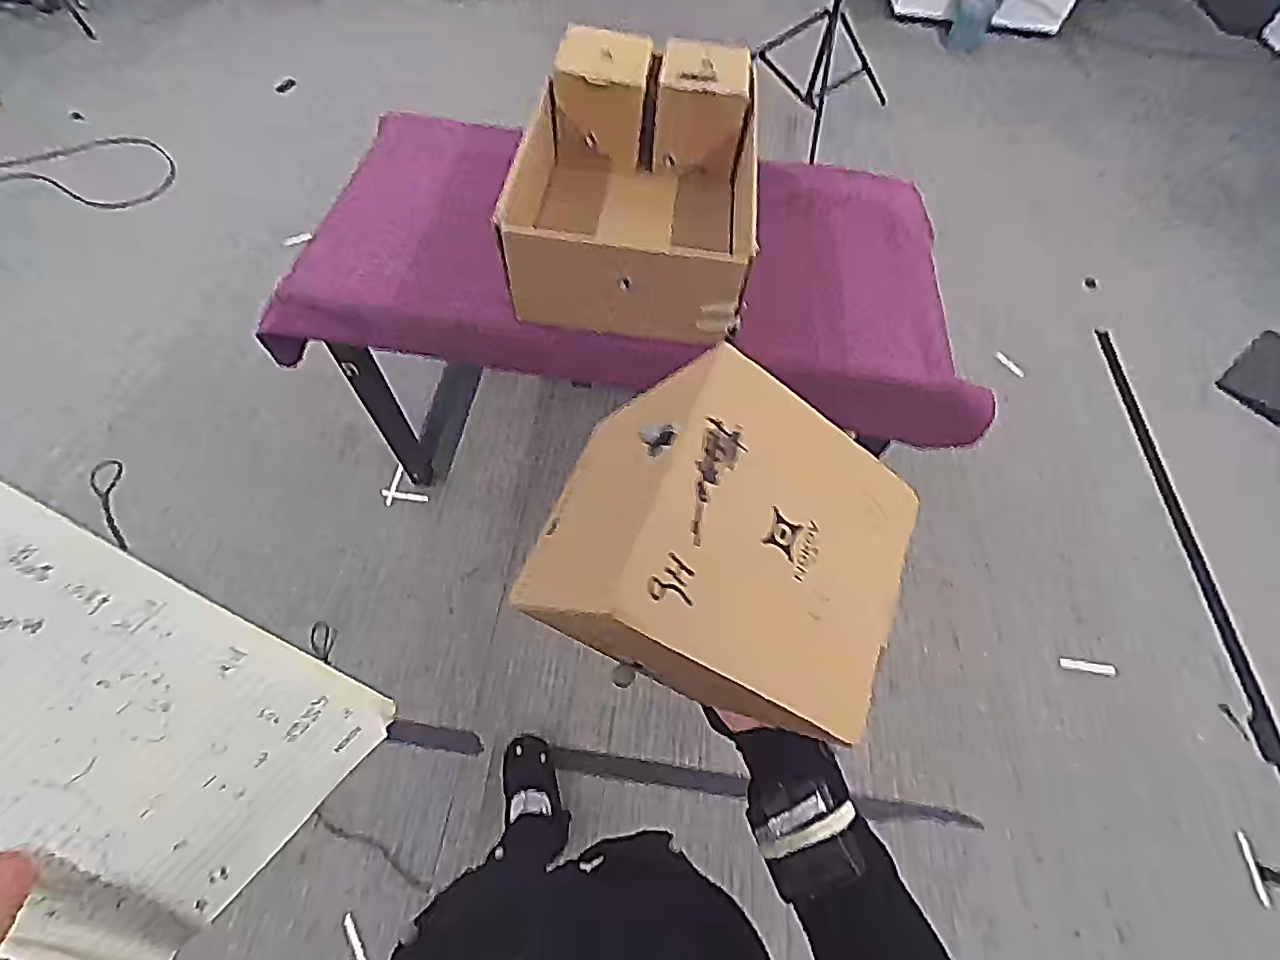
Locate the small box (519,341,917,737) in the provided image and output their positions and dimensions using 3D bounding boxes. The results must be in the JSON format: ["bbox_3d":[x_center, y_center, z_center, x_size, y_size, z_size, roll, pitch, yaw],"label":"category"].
[{"bbox_3d":[0.047,0.044,0.369,0.179,0.176,0.168,34,65,-20],"label":"small box"}]
